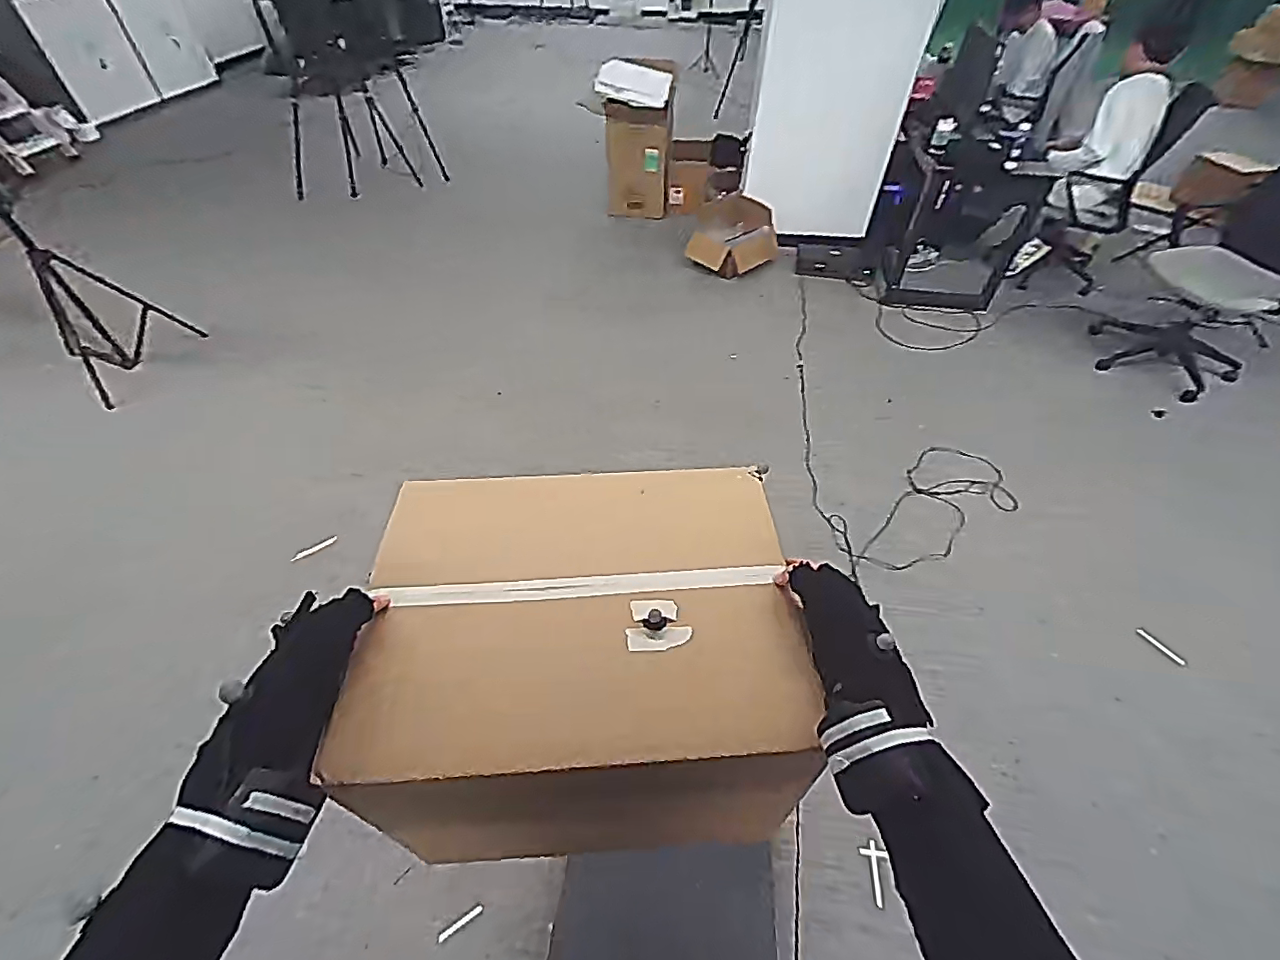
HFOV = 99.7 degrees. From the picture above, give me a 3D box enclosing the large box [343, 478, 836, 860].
[{"bbox_3d":[-0.048,0.219,0.638,0.408,0.320,0.320,-2,46,-3],"label":"large box"}]
